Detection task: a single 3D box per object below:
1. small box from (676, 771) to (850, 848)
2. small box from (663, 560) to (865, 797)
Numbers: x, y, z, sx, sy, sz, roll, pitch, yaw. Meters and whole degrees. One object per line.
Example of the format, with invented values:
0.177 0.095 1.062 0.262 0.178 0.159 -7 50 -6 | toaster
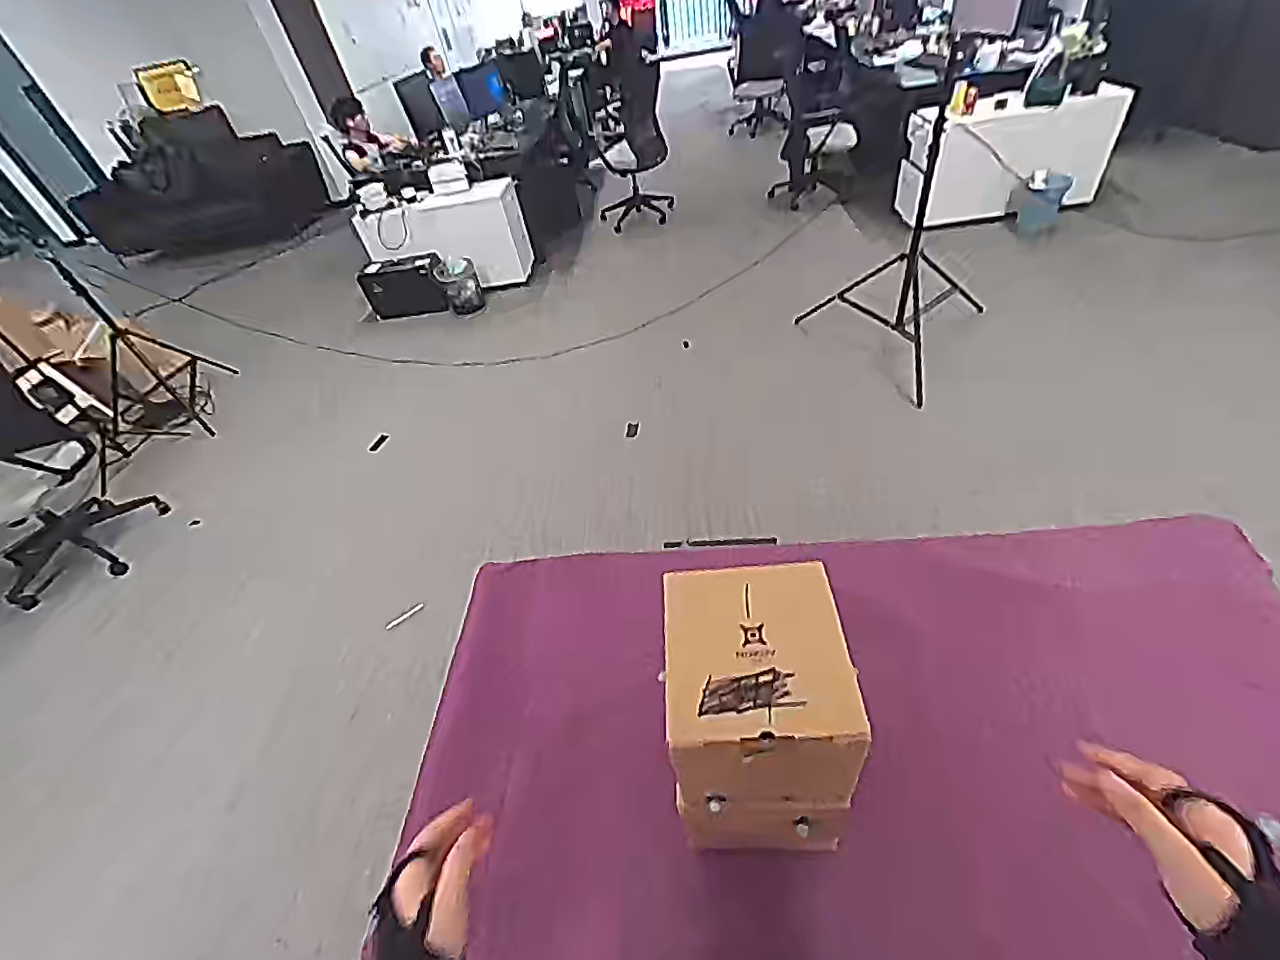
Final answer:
0.139 0.330 0.657 0.179 0.176 0.168 -5 43 8 | small box
0.115 0.206 0.550 0.168 0.176 0.179 -6 43 6 | small box
